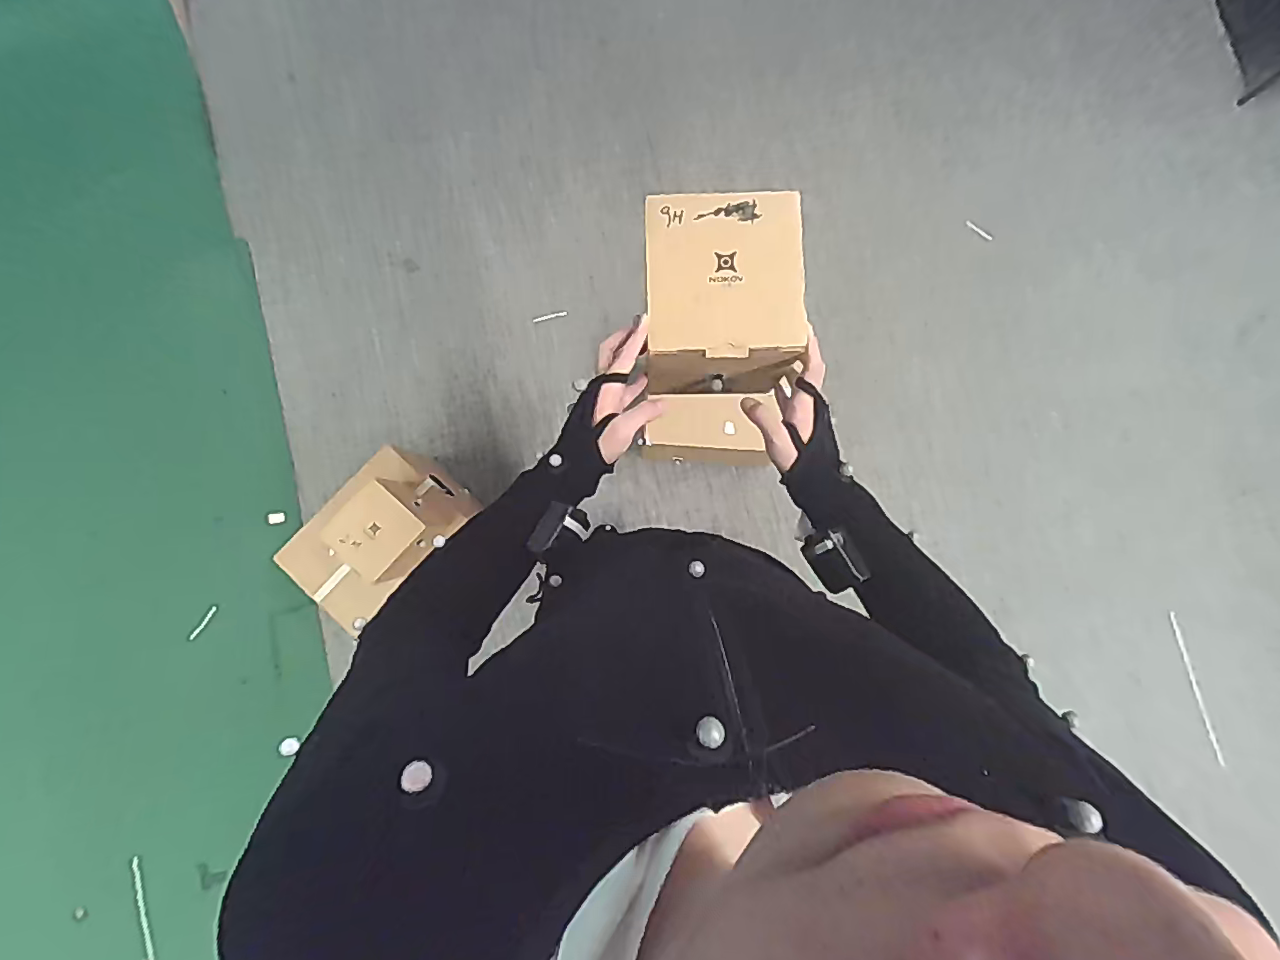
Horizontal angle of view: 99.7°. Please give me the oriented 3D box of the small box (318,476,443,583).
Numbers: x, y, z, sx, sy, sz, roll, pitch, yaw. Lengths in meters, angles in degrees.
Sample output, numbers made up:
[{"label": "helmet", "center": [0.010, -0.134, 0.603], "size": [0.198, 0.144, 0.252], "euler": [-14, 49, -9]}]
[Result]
[{"label": "small box", "center": [-0.581, 0.111, 1.245], "size": [0.168, 0.176, 0.179], "euler": [42, 86, 2]}]

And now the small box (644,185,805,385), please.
[{"label": "small box", "center": [0.089, -0.212, 0.635], "size": [0.168, 0.176, 0.179], "euler": [-1, 85, 1]}]

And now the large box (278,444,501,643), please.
[{"label": "large box", "center": [-0.656, 0.163, 1.488], "size": [0.320, 0.320, 0.408], "euler": [42, 87, 4]}]
